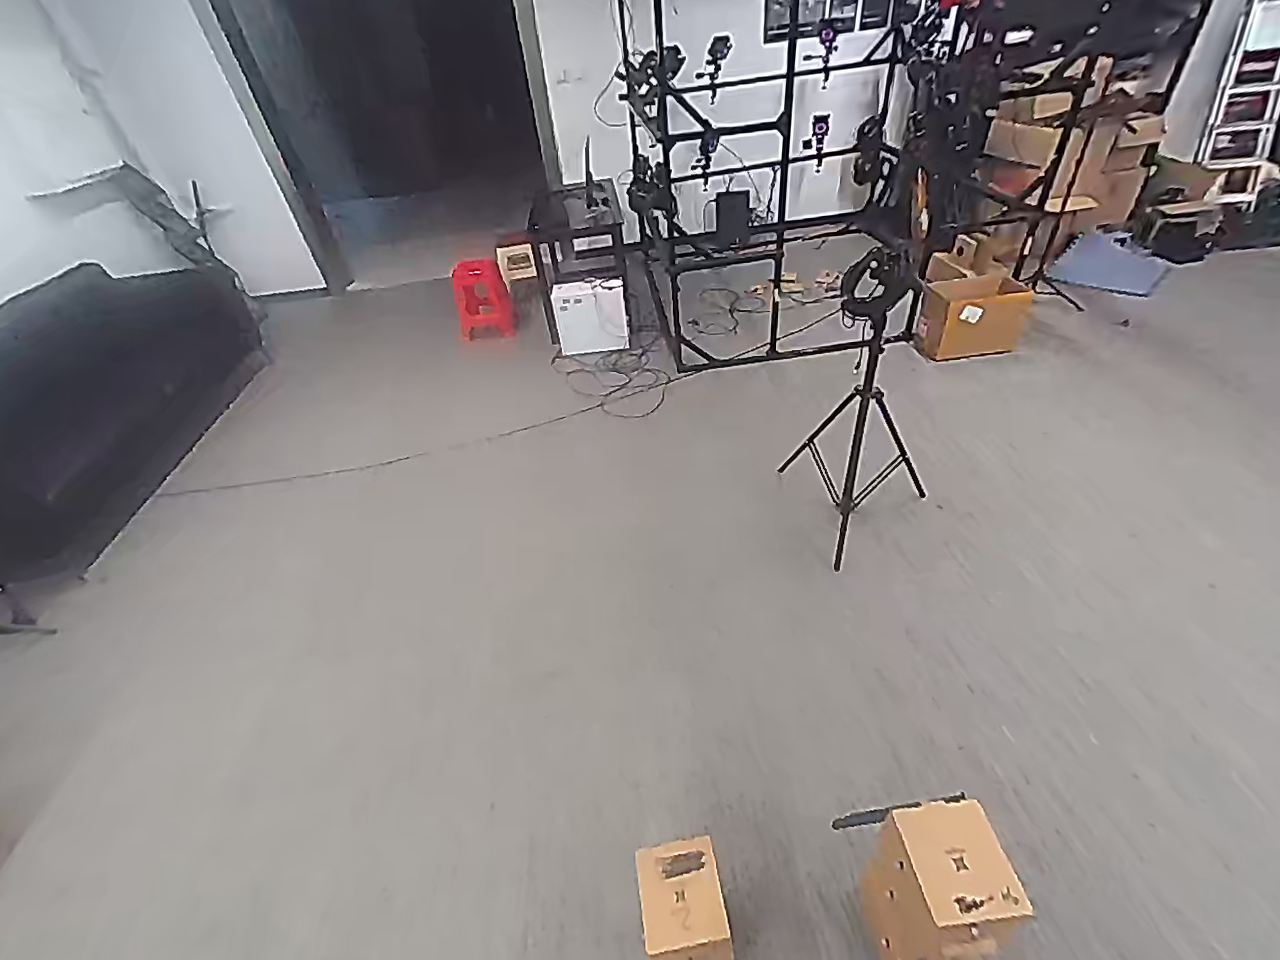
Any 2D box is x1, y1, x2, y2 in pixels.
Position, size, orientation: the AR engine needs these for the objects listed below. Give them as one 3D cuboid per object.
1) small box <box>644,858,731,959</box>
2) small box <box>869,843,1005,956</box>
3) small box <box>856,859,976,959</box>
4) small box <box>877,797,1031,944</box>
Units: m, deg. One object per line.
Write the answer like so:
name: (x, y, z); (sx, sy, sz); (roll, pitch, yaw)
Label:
small box: (0.108, 1.007, 1.237); (0.168, 0.176, 0.179); (-10, 39, -2)
small box: (0.589, 0.841, 1.100); (0.168, 0.176, 0.179); (-7, 40, 0)
small box: (0.599, 0.967, 1.205); (0.168, 0.176, 0.179); (-7, 40, 1)
small box: (0.558, 0.717, 0.995); (0.168, 0.176, 0.179); (-7, 39, 1)
